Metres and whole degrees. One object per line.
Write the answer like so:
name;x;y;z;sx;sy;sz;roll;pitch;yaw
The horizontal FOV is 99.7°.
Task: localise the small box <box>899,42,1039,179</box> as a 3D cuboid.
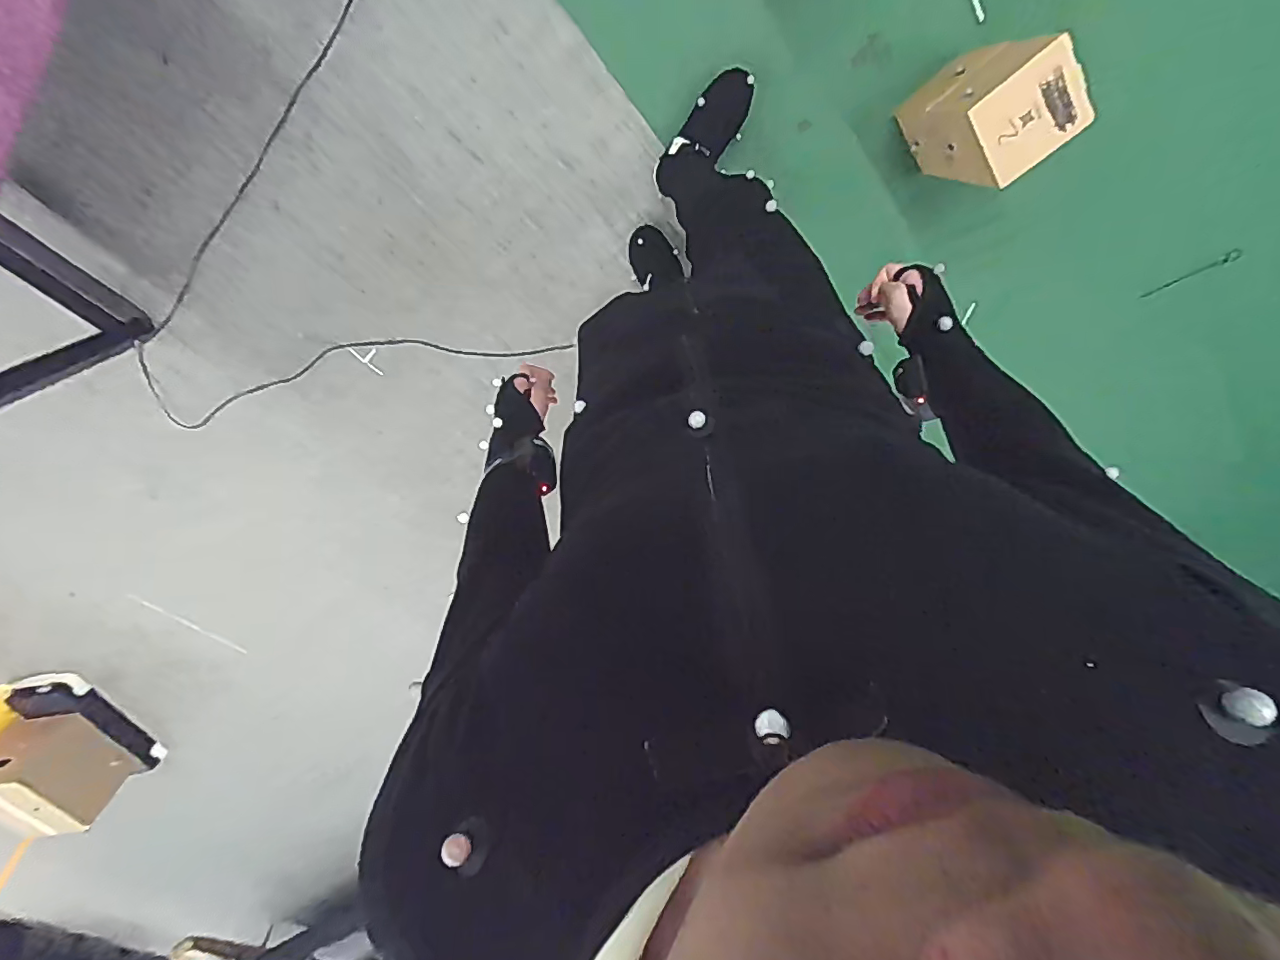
small box;0.699;-0.790;1.165;0.179;0.176;0.168;-35;117;21
